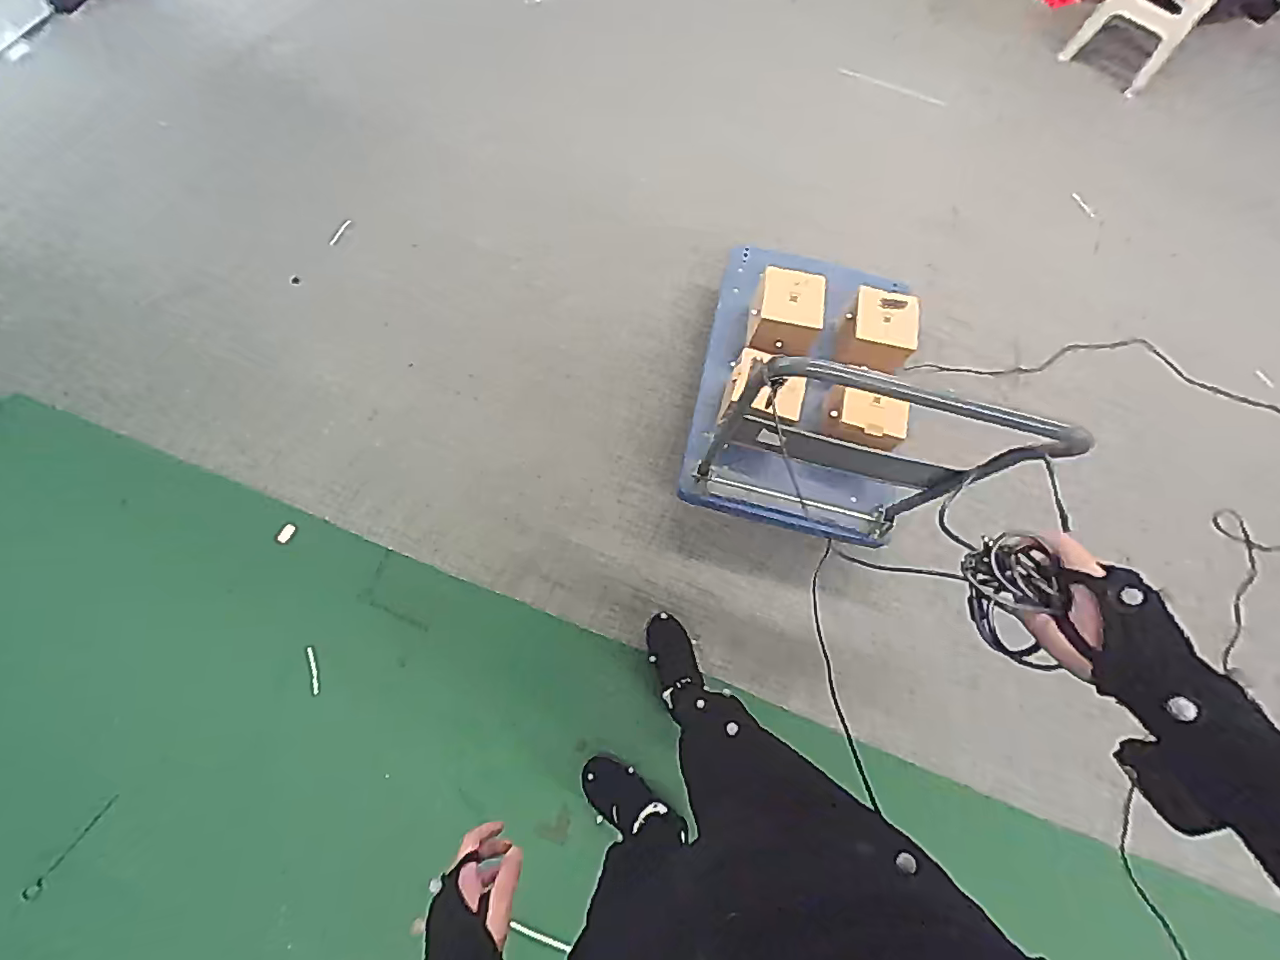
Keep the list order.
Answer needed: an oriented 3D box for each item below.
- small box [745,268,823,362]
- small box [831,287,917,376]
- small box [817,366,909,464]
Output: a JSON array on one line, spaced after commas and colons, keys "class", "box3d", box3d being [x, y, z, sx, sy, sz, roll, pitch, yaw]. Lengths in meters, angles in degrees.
[{"class": "small box", "box3d": [0.399, -0.457, 1.516, 0.168, 0.176, 0.179, 11, 70, -1]}, {"class": "small box", "box3d": [0.651, -0.404, 1.516, 0.168, 0.176, 0.179, 12, 70, 1]}, {"class": "small box", "box3d": [0.582, -0.167, 1.428, 0.168, 0.176, 0.179, 15, 71, 1]}]
